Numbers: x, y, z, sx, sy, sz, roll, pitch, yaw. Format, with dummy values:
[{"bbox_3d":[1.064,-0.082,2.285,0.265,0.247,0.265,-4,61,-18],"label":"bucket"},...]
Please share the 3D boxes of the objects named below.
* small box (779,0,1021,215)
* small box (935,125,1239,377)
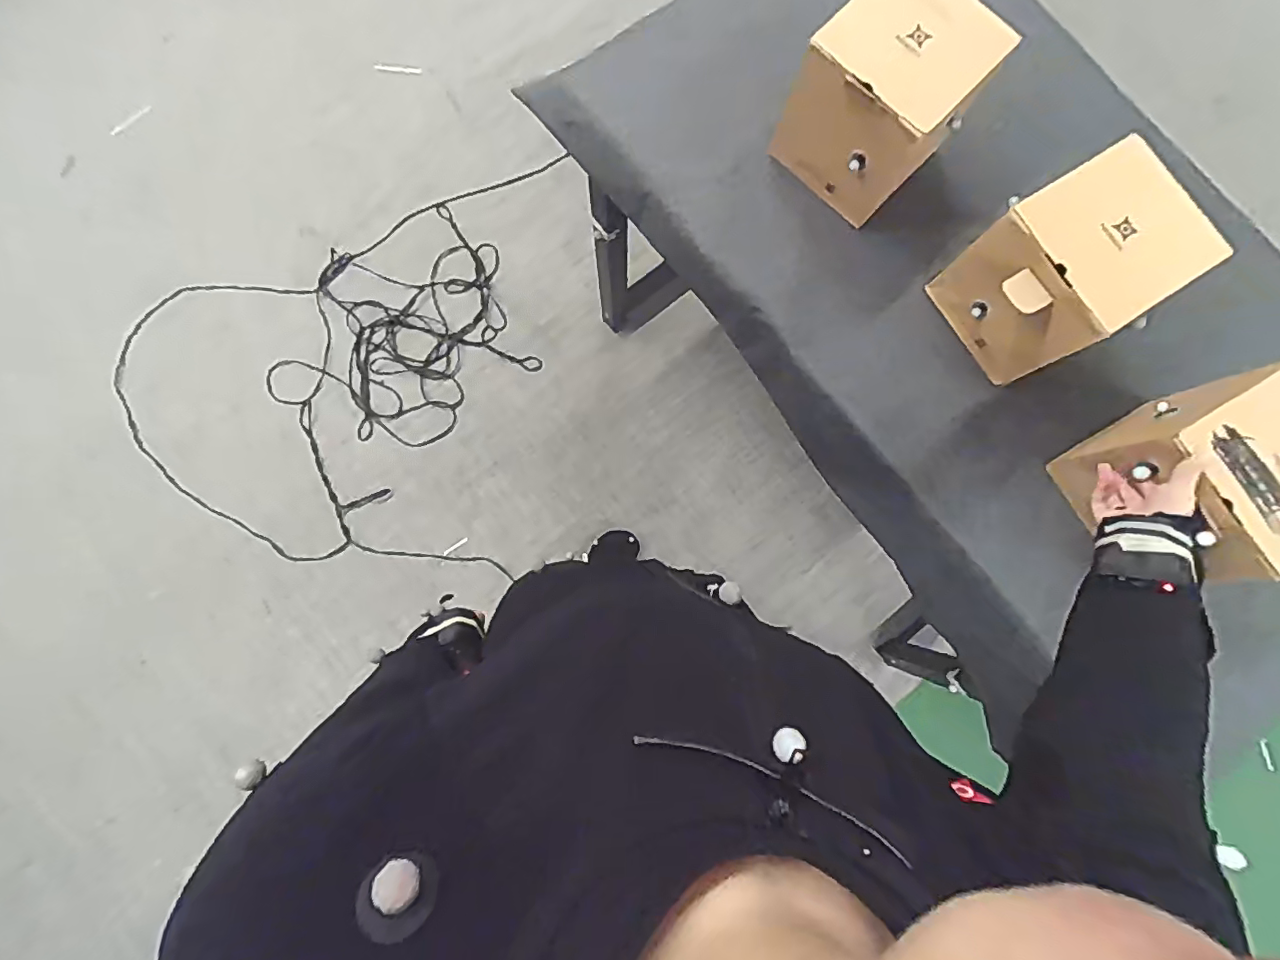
[{"bbox_3d":[0.290,-0.467,0.652,0.168,0.176,0.179,43,81,3],"label":"small box"},{"bbox_3d":[0.493,-0.249,0.627,0.179,0.176,0.168,-32,85,-6],"label":"small box"}]
